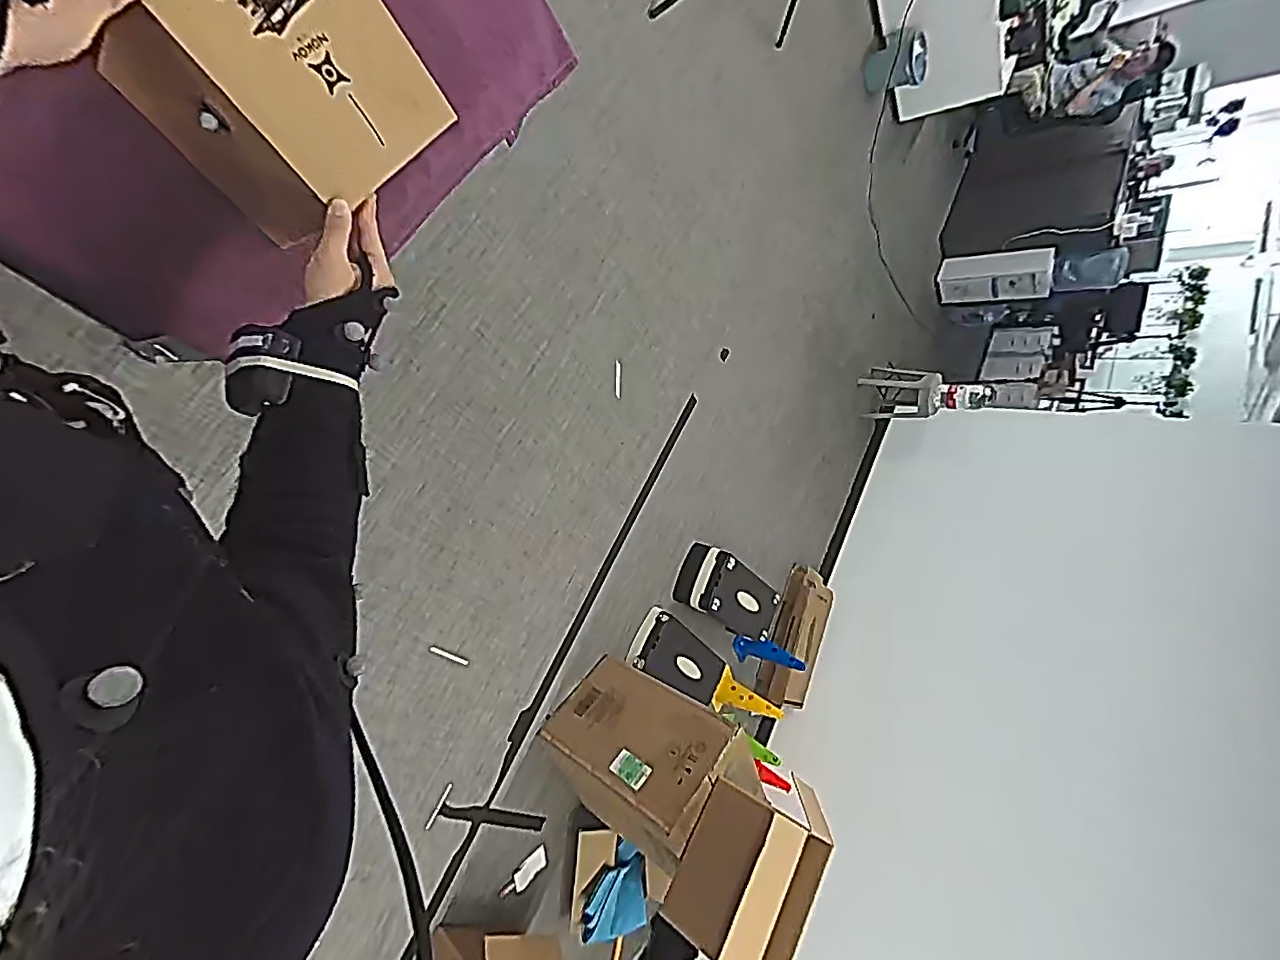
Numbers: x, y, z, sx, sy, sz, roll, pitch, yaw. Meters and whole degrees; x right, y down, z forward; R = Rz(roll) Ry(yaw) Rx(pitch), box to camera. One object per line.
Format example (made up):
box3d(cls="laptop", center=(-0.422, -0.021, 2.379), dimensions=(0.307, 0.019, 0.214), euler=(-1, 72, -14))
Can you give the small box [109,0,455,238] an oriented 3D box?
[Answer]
box3d(cls="small box", center=(-0.314, -0.346, 0.483), dimensions=(0.168, 0.176, 0.179), euler=(-58, 135, -22))
